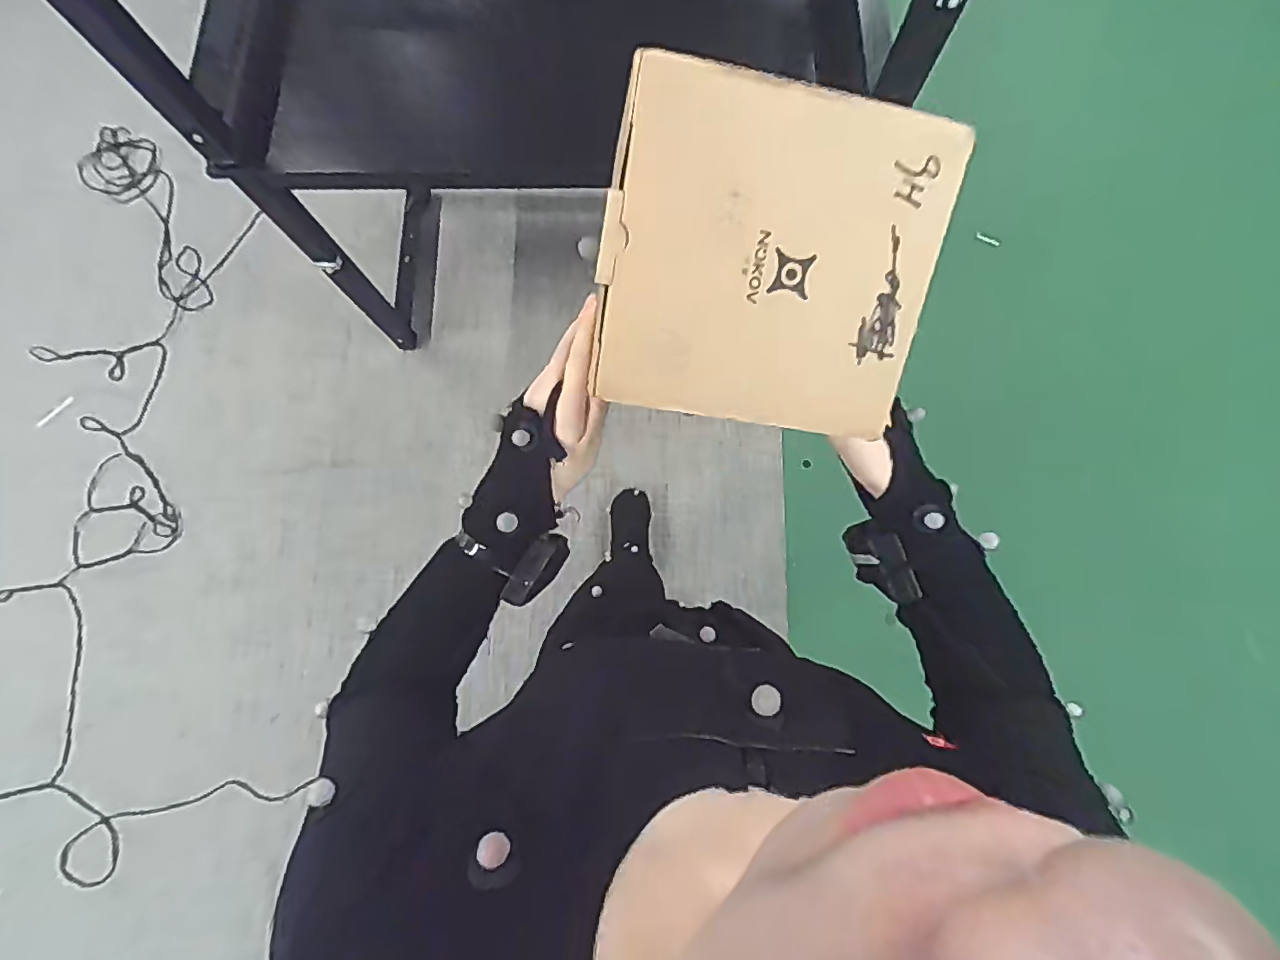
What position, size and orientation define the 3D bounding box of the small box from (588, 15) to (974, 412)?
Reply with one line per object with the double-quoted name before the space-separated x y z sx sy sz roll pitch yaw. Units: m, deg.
"small box" 0.063 -0.152 0.358 0.179 0.176 0.168 8 107 -8
